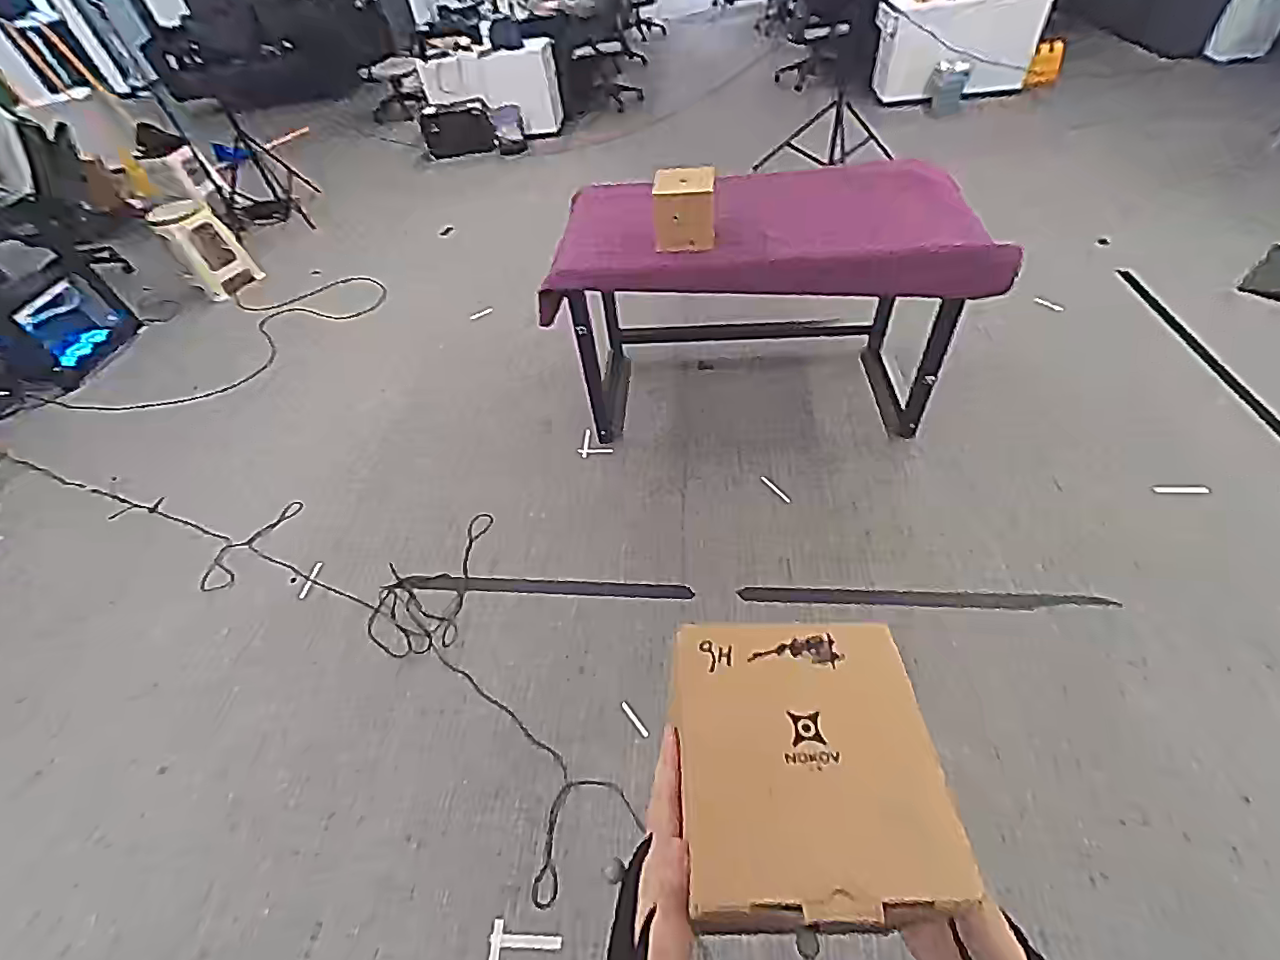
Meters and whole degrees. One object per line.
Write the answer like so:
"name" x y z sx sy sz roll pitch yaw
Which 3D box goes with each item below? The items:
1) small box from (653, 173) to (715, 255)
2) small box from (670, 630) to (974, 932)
"small box" 0.135 -0.774 1.586 0.168 0.176 0.179 1 48 8
"small box" 0.110 0.236 0.421 0.168 0.176 0.179 0 47 -1
